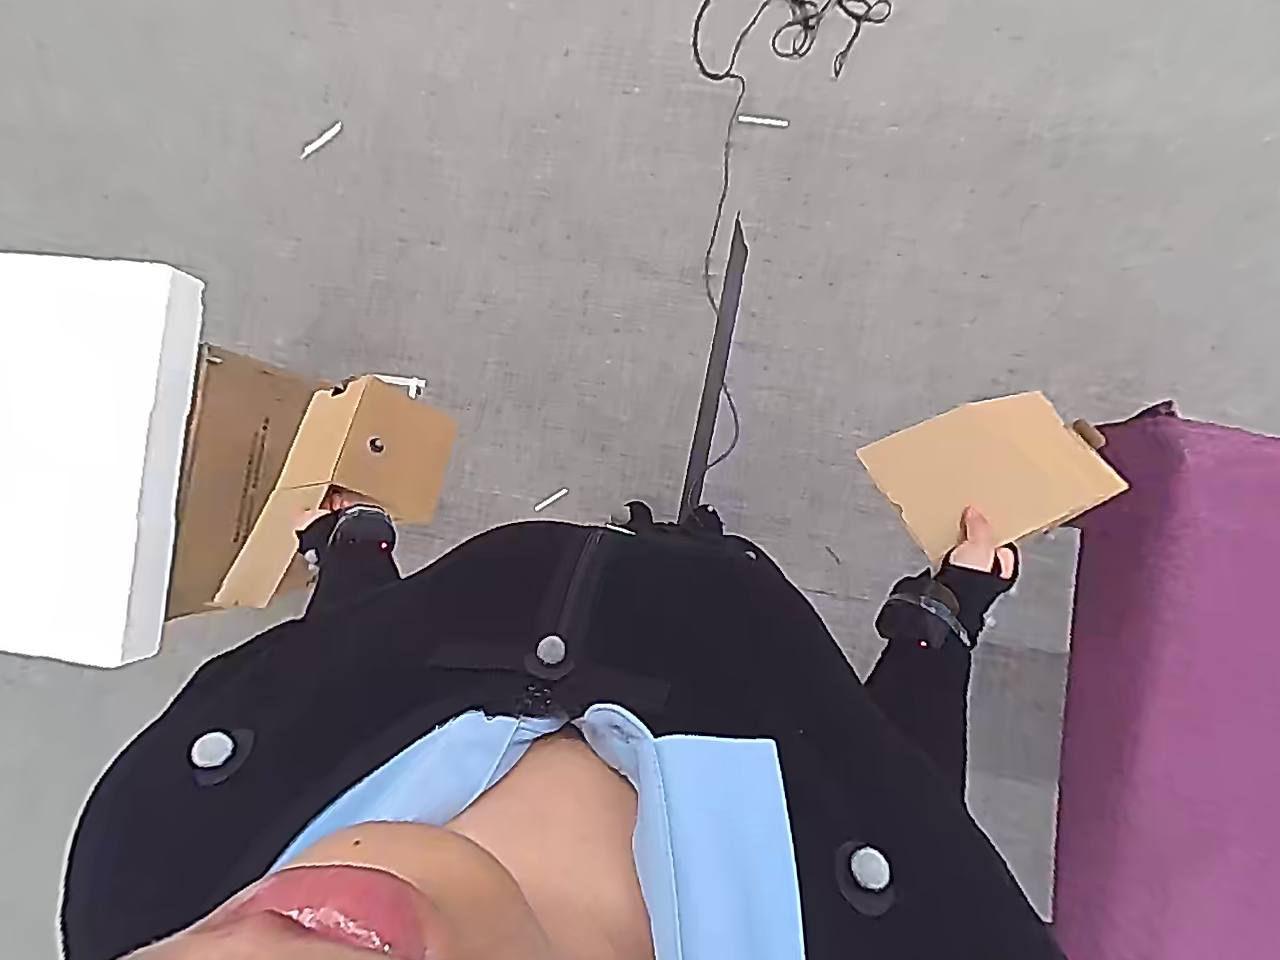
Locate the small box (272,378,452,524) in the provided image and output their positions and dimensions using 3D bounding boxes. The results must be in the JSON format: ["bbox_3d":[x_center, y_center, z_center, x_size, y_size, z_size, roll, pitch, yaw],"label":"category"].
[{"bbox_3d":[-0.426,-0.033,0.852,0.168,0.176,0.179,-5,64,32],"label":"small box"}]
